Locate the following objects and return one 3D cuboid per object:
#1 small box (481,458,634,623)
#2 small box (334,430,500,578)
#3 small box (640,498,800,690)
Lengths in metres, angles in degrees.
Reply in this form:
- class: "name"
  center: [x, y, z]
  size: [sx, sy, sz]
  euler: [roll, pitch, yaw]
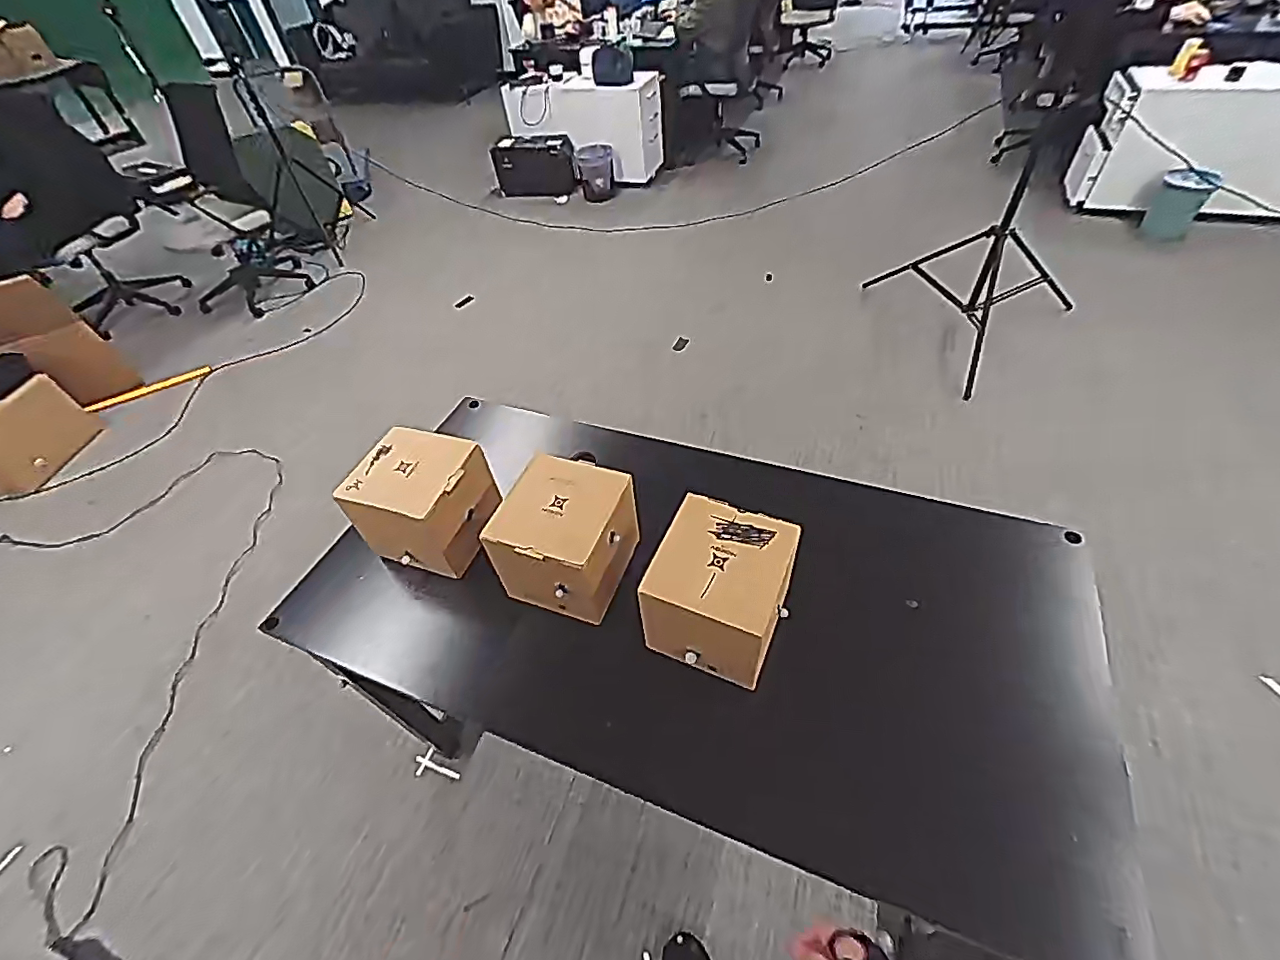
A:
- class: "small box"
  center: [-0.114, 0.097, 0.847]
  size: [0.168, 0.176, 0.179]
  euler: [13, 50, 16]
- class: "small box"
  center: [-0.361, 0.044, 0.918]
  size: [0.179, 0.176, 0.168]
  euler: [13, 50, 15]
- class: "small box"
  center: [0.112, 0.160, 0.763]
  size: [0.168, 0.176, 0.179]
  euler: [17, 52, 20]
